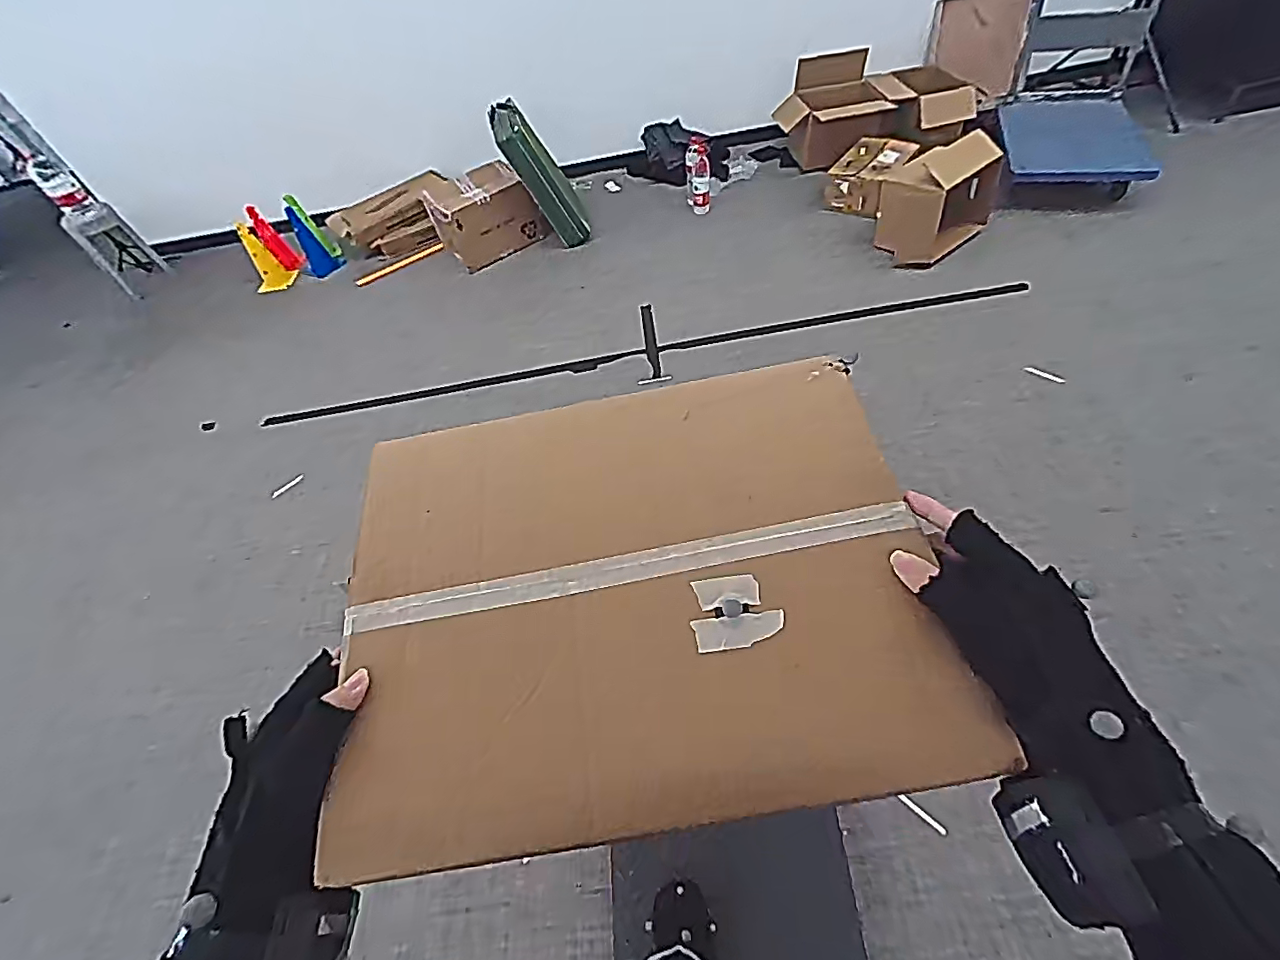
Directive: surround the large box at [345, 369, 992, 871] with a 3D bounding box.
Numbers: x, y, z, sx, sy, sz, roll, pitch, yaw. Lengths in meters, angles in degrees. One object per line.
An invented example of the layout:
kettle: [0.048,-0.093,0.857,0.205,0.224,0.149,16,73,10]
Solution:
large box: [0.009,0.144,0.524,0.408,0.320,0.320,-11,59,2]
